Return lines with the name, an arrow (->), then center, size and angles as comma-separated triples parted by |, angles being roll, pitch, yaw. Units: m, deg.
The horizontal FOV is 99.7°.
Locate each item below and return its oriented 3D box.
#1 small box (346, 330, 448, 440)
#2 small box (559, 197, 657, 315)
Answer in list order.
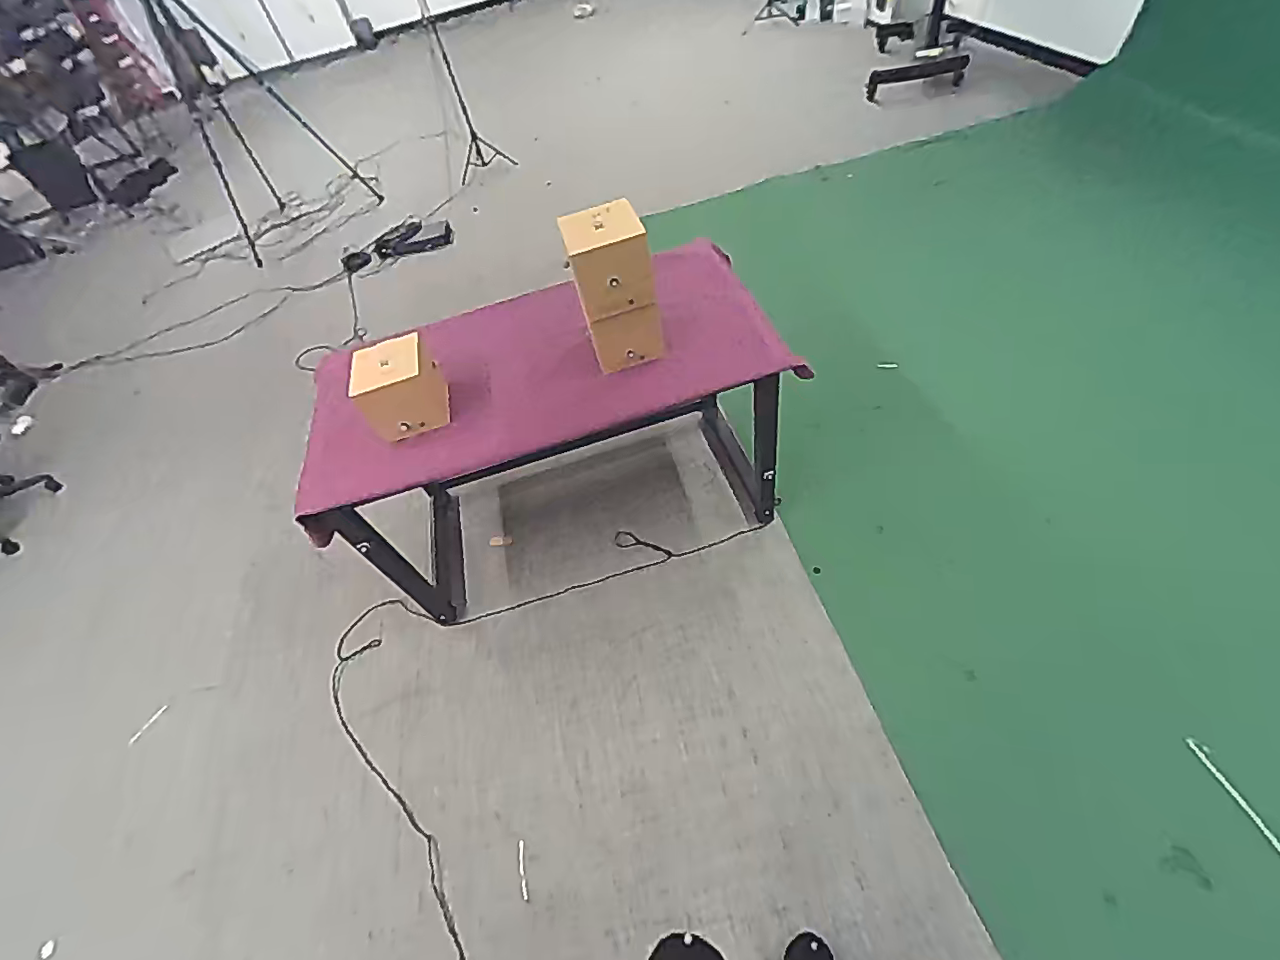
small box -> -0.580, -0.229, 1.313 | 0.168, 0.176, 0.179 | -18, 51, -2
small box -> -0.068, -0.488, 1.199 | 0.168, 0.176, 0.179 | -17, 51, -2
